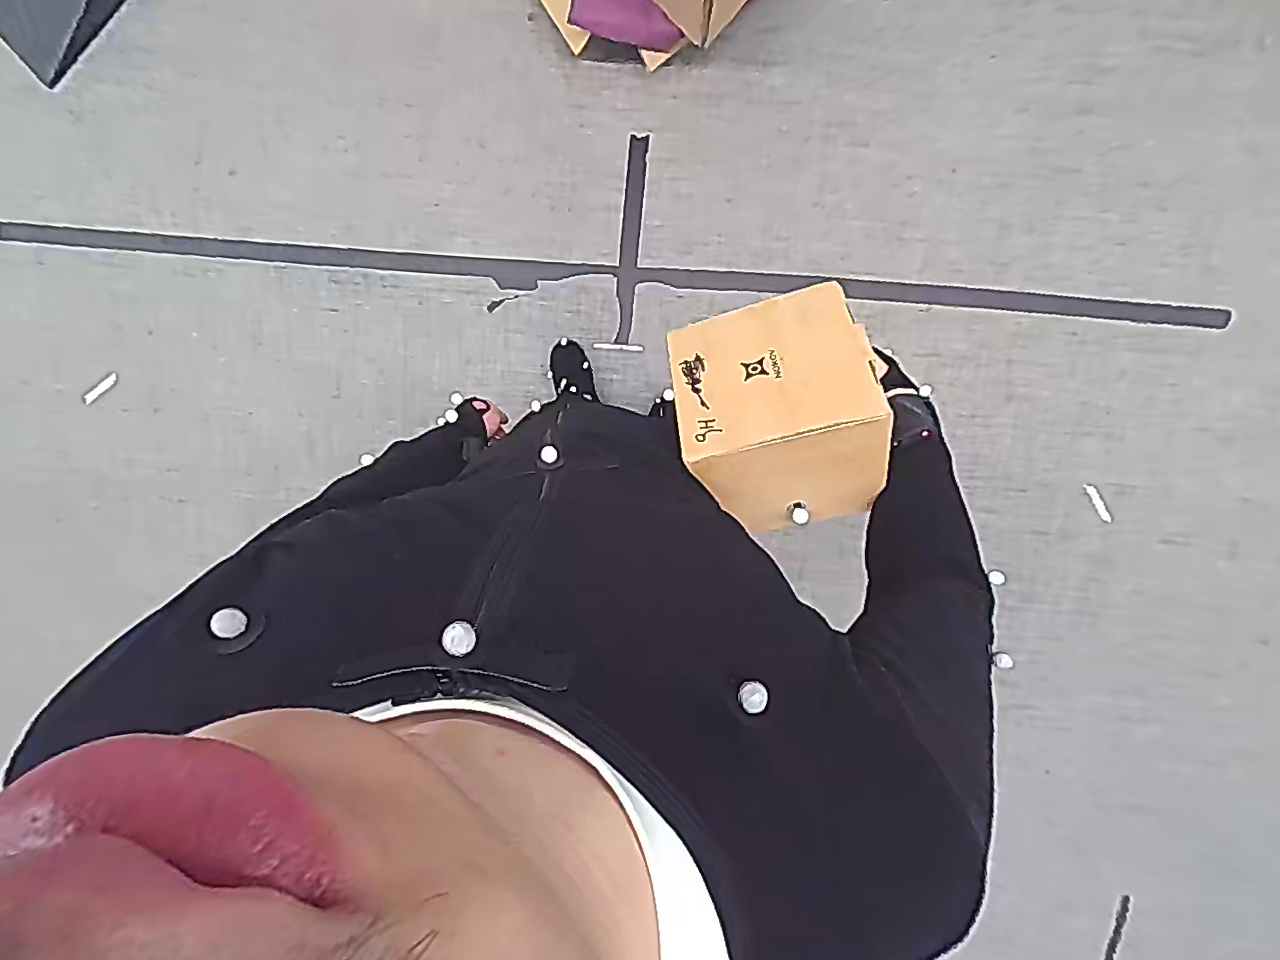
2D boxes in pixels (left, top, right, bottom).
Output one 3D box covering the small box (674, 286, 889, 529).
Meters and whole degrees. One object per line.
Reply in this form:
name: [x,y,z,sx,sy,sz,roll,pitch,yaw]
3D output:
small box: [0.146,-0.066,0.574,0.179,0.168,0.176,-13,145,14]
